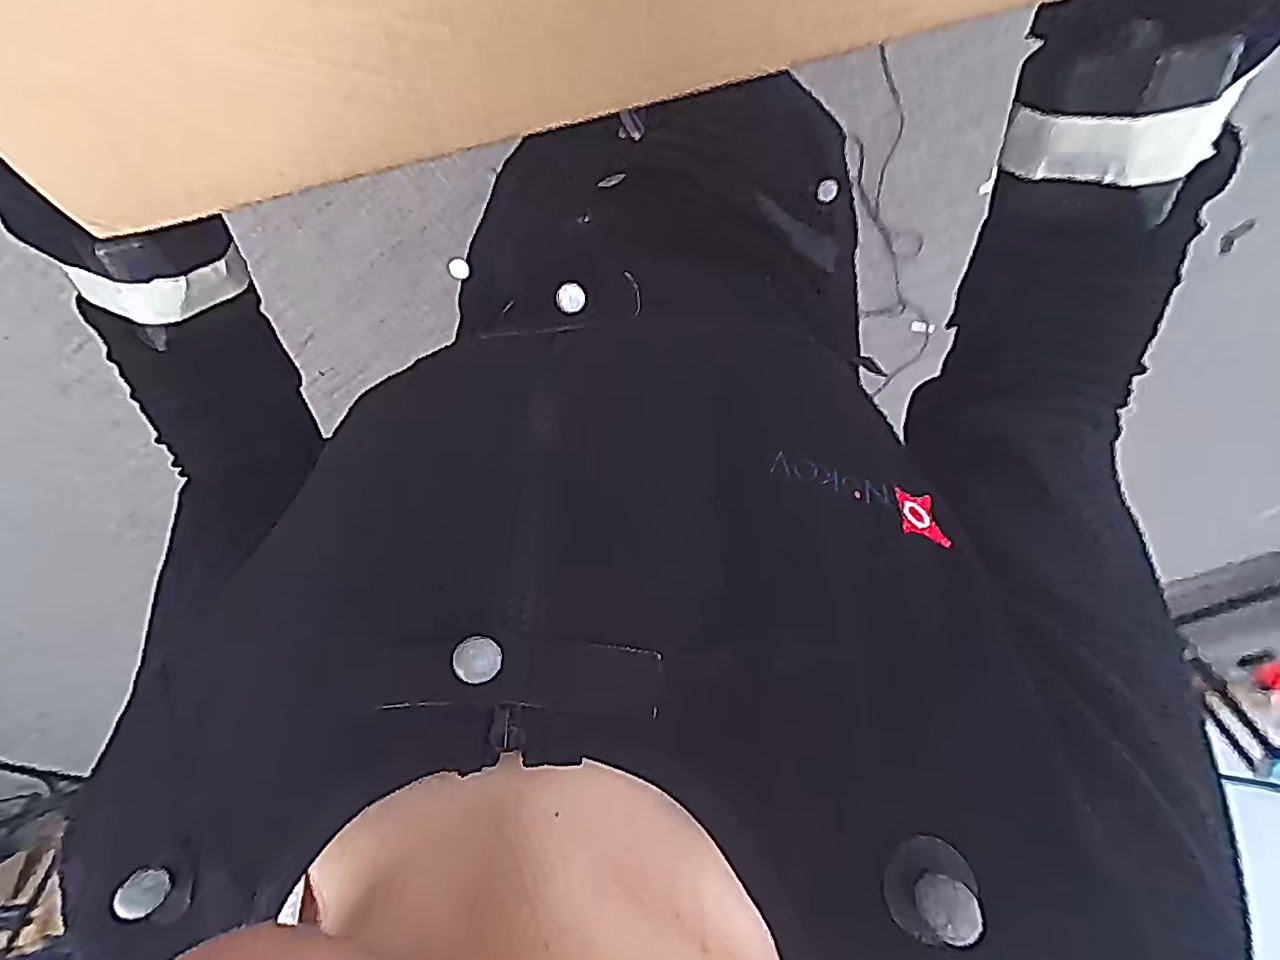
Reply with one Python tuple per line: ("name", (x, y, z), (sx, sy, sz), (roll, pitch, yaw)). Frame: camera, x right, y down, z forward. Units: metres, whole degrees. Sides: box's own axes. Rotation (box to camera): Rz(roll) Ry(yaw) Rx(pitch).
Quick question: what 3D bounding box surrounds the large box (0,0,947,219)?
("large box", (-0.068, -0.348, 0.168), (0.408, 0.320, 0.320), (-7, 144, 11))
